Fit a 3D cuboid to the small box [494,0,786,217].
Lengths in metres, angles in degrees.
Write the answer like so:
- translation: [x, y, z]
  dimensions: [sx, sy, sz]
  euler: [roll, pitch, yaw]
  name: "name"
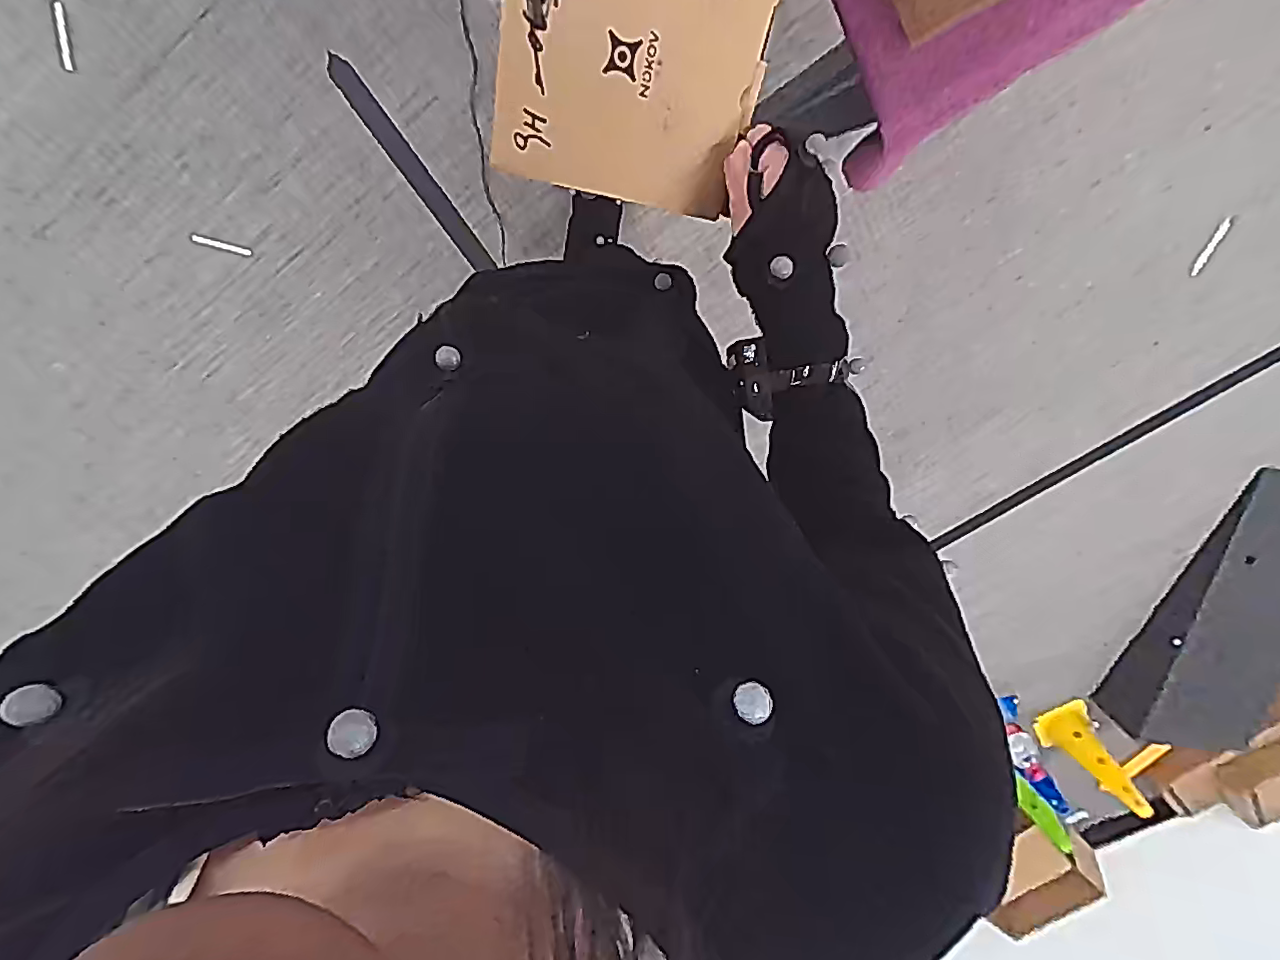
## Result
- translation: [-0.016, -0.323, 0.416]
  dimensions: [0.179, 0.176, 0.168]
  euler: [4, 123, -17]
  name: "small box"
